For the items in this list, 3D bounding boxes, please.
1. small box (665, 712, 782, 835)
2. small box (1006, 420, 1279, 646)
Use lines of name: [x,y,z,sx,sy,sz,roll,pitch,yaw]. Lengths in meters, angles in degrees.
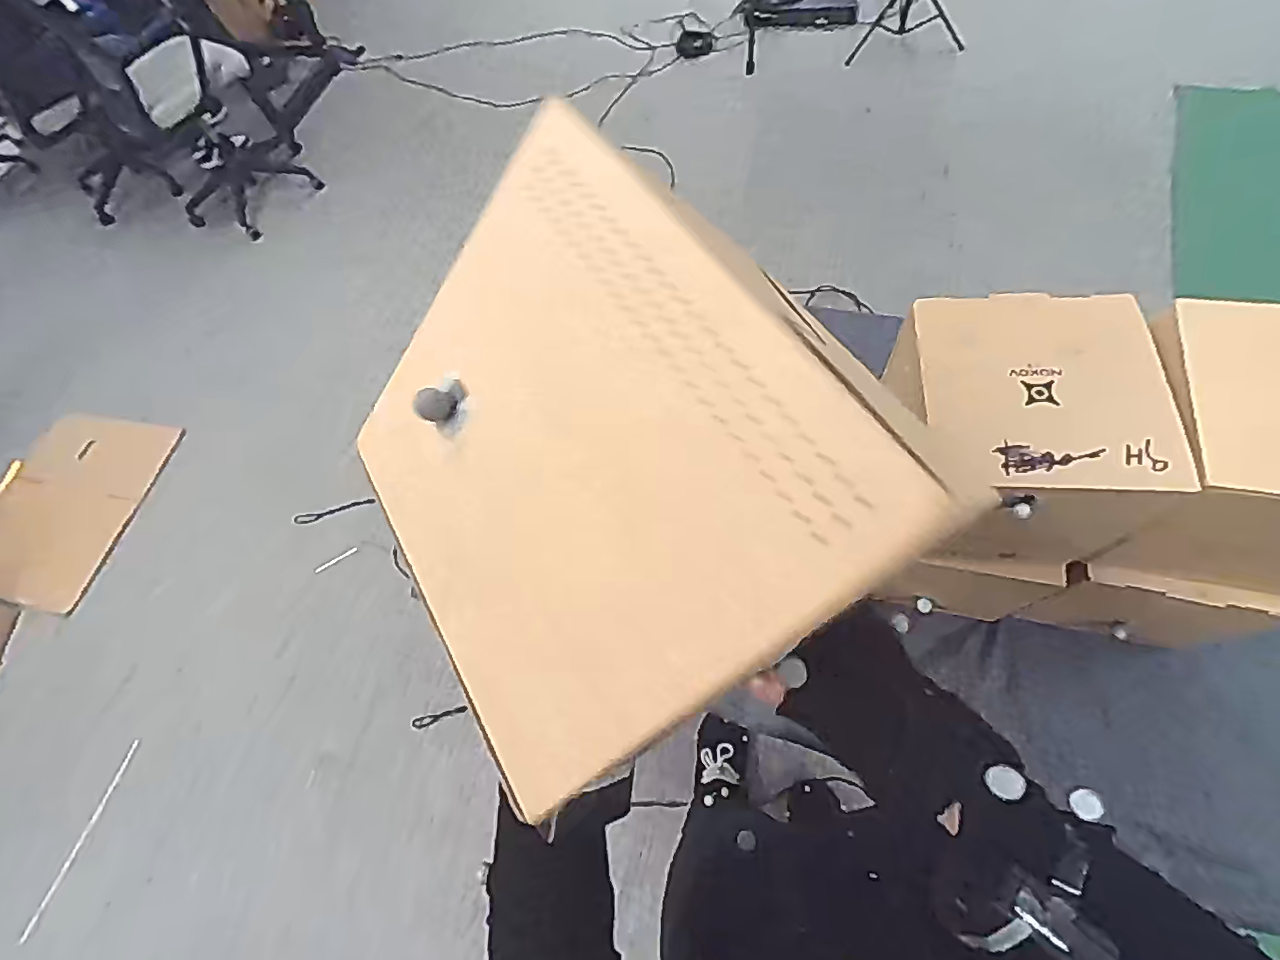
small box: [0.178,0.644,1.195,0.168,0.176,0.179,-50,46,-4]
small box: [0.518,0.062,0.580,0.168,0.176,0.179,10,67,16]
